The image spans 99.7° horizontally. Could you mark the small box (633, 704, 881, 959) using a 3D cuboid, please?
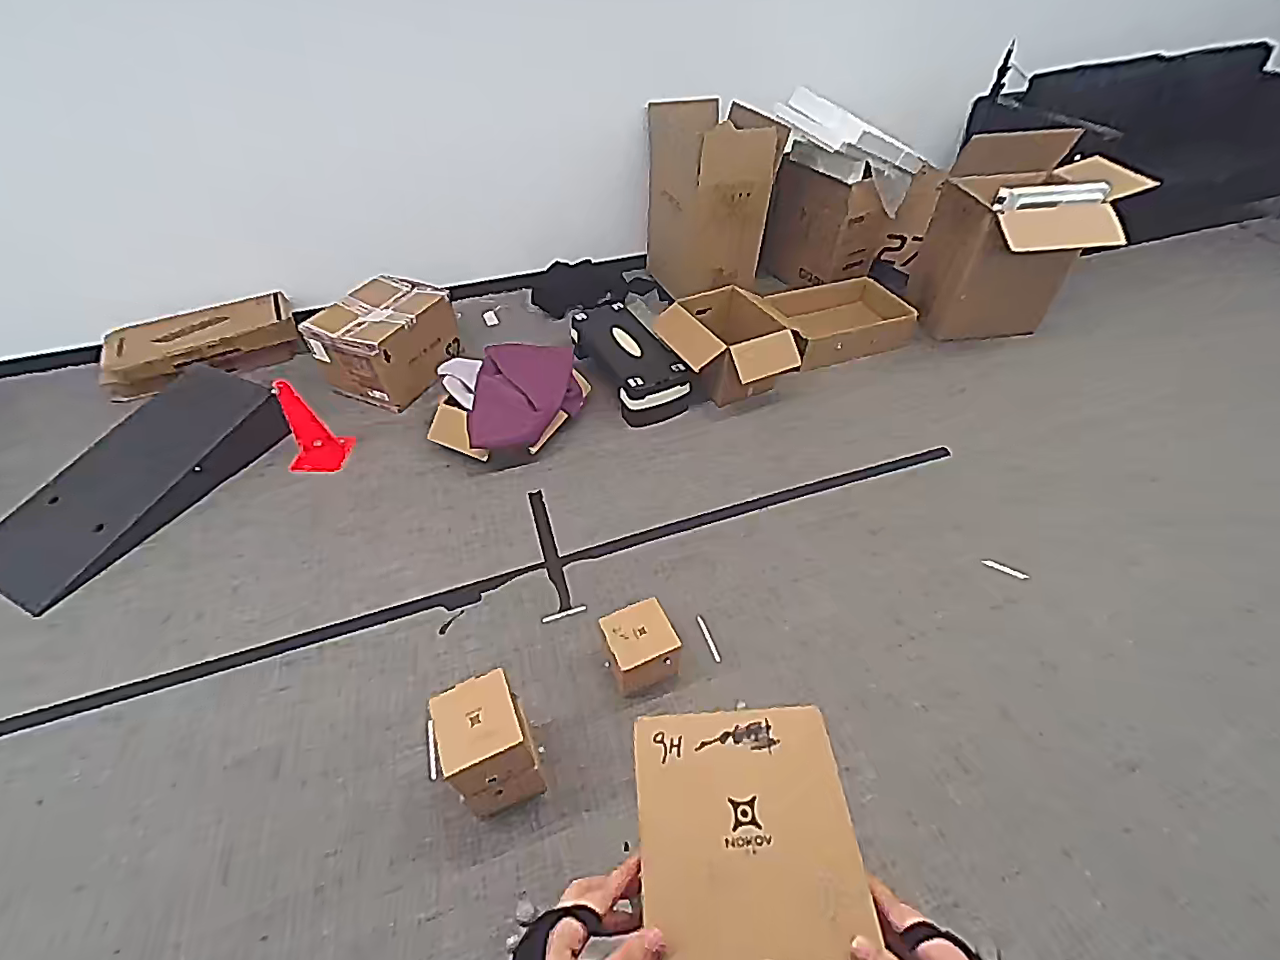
[{"bbox_3d":[0.082,0.320,0.481,0.168,0.176,0.179,-3,48,-2],"label":"small box"}]

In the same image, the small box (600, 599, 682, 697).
[{"bbox_3d":[-0.001,0.467,1.499,0.179,0.176,0.168,-19,49,-17],"label":"small box"}]

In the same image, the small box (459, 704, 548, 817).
[{"bbox_3d":[-0.335,0.678,1.302,0.179,0.176,0.168,-17,49,-15],"label":"small box"}]

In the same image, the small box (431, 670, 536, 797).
[{"bbox_3d":[-0.341,0.559,1.191,0.168,0.176,0.179,-21,51,-16],"label":"small box"}]
